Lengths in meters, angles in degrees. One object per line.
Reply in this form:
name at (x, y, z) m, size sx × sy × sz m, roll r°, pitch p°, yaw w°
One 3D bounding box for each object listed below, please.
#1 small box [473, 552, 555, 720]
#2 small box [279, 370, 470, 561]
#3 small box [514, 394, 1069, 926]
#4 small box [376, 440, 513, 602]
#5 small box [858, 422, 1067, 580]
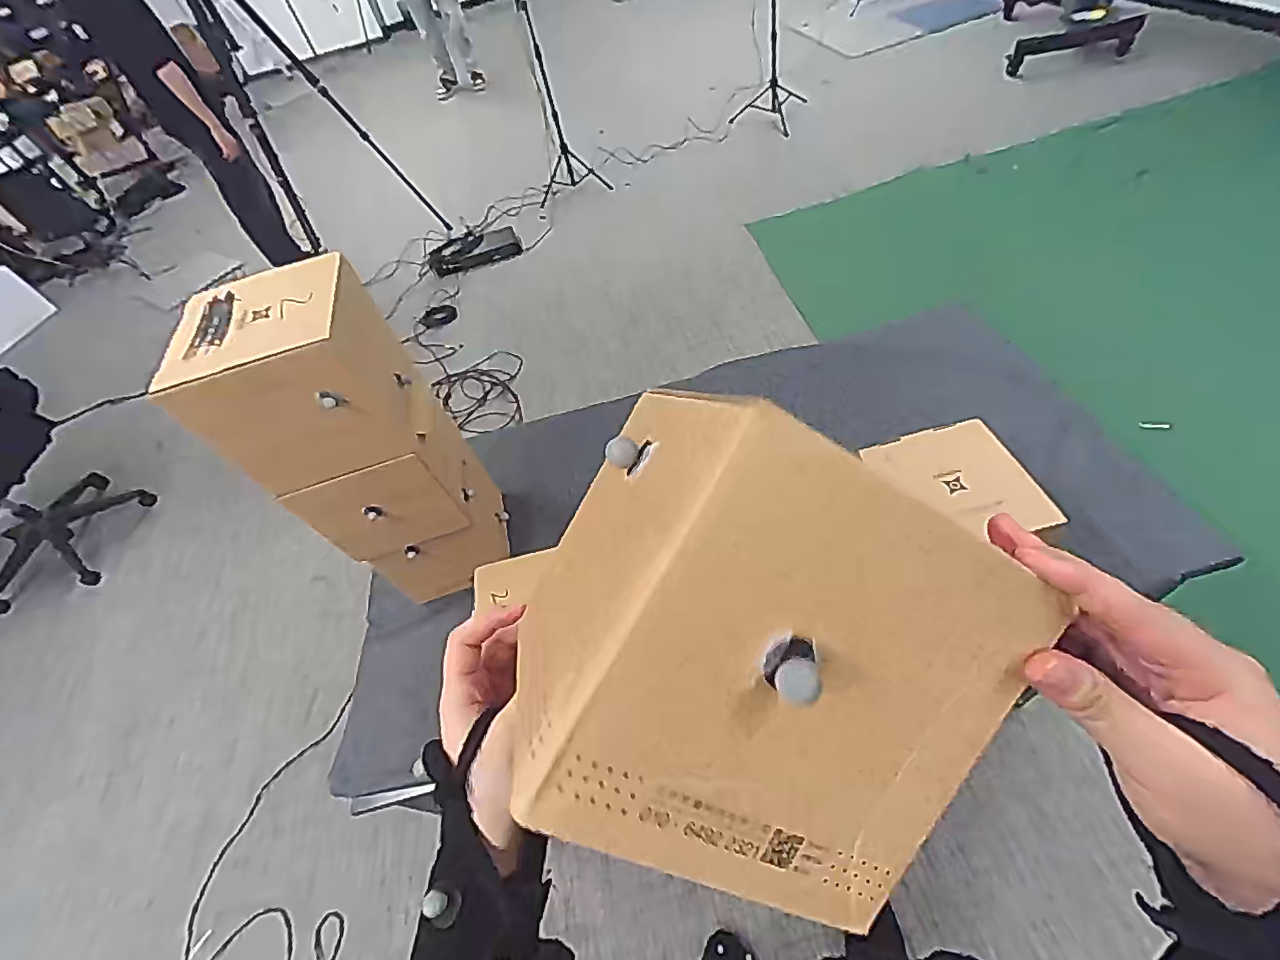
small box at (-0.103, 0.210, 0.720) m, size 0.179 × 0.176 × 0.168 m, roll -14°, pitch 51°, yaw 3°
small box at (-0.346, -0.015, 0.743) m, size 0.179 × 0.176 × 0.168 m, roll -19°, pitch 53°, yaw 0°
small box at (0.046, 0.072, 0.278) m, size 0.176 × 0.168 × 0.179 m, roll -62°, pitch 16°, yaw 5°
small box at (-0.319, 0.070, 0.883) m, size 0.168 × 0.176 × 0.179 m, roll -19°, pitch 52°, yaw -2°
small box at (0.395, 0.057, 0.713) m, size 0.168 × 0.176 × 0.179 m, roll -16°, pitch 50°, yaw 3°
